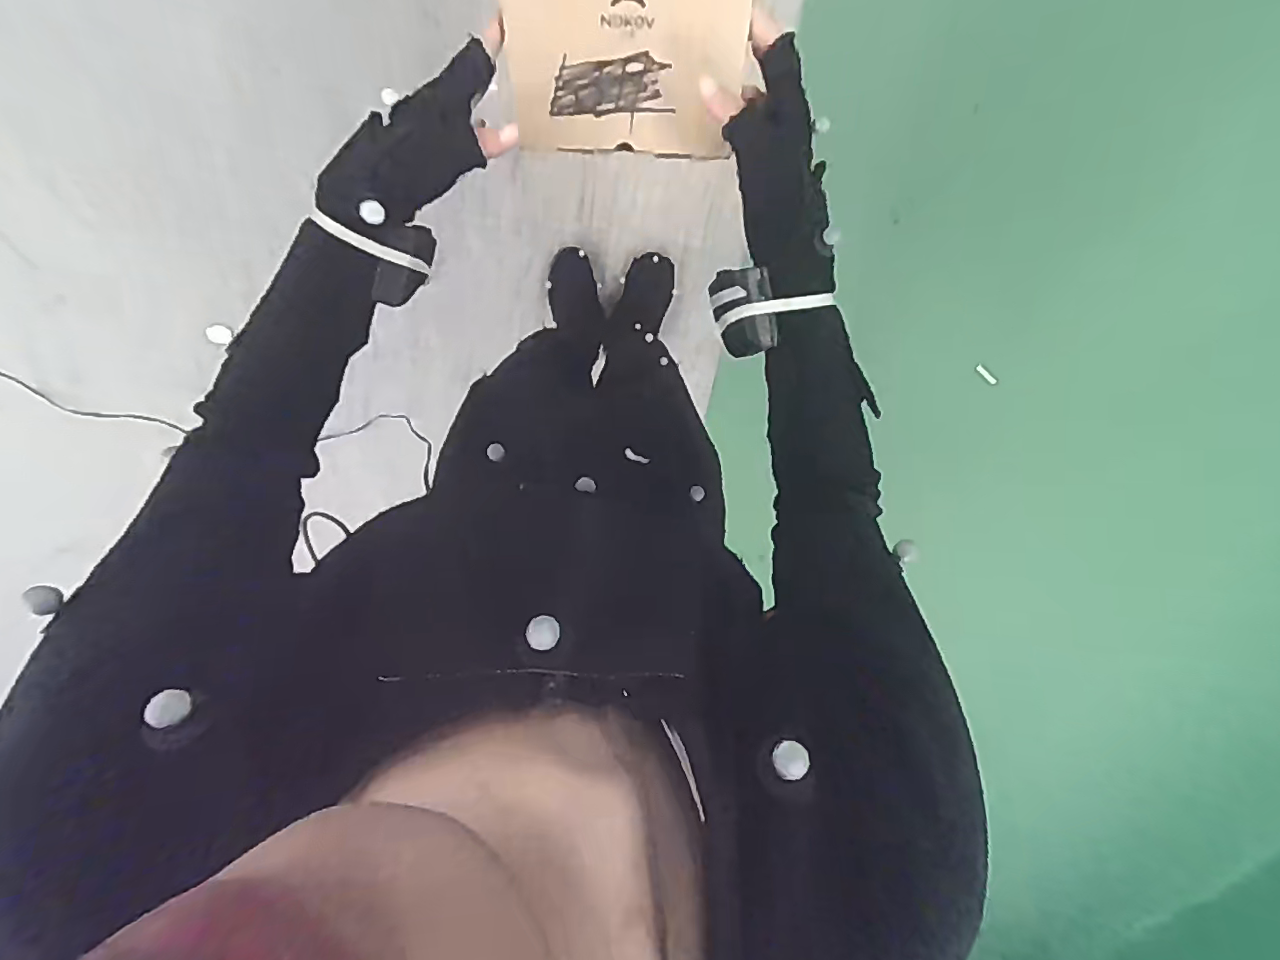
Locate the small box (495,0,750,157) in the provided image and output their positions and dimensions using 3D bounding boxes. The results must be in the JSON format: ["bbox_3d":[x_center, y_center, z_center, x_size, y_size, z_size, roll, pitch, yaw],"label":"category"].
[{"bbox_3d":[-0.008,-0.360,0.398,0.168,0.176,0.179,3,131,-1],"label":"small box"}]
